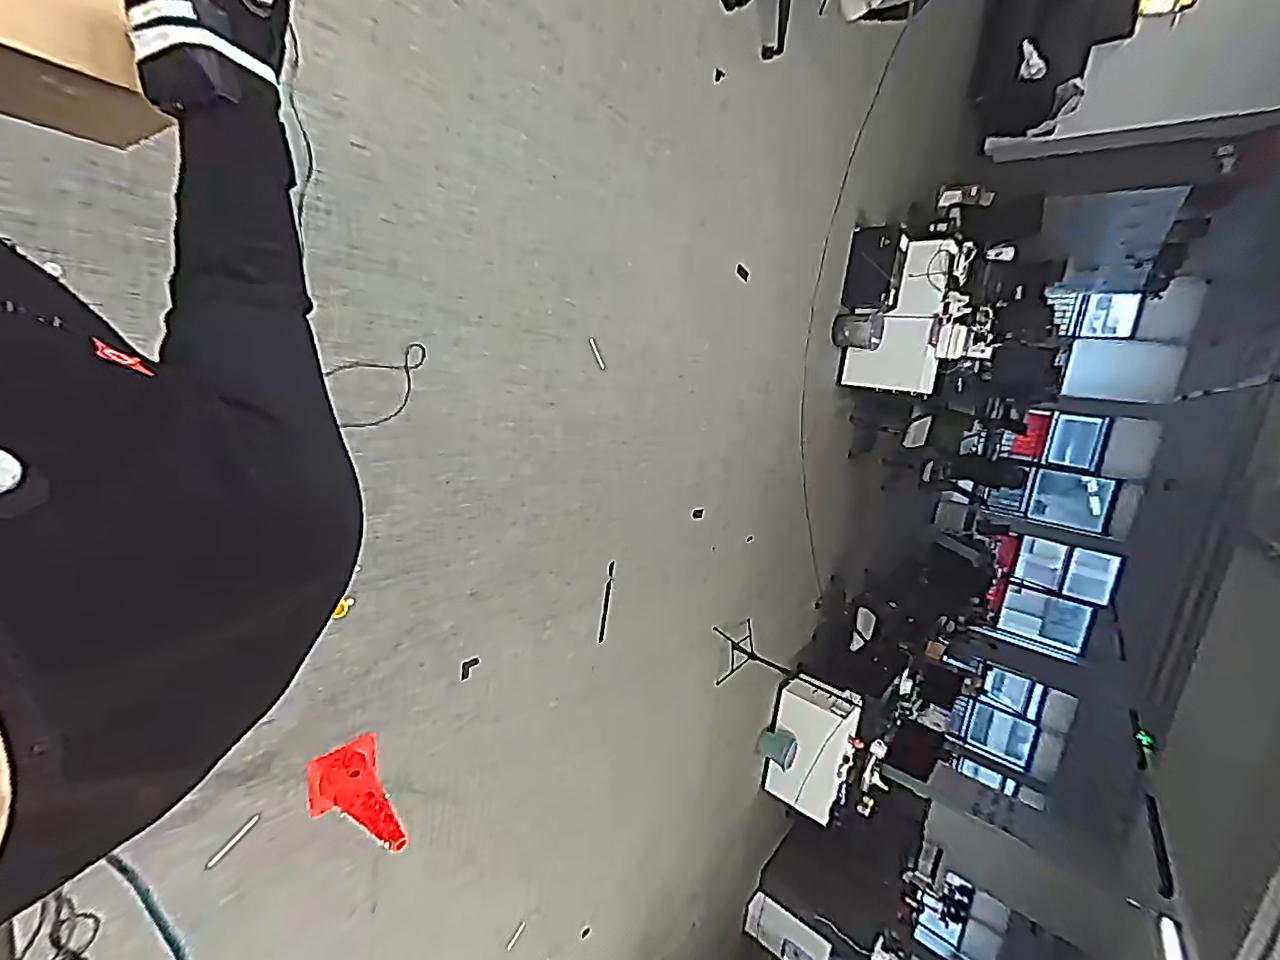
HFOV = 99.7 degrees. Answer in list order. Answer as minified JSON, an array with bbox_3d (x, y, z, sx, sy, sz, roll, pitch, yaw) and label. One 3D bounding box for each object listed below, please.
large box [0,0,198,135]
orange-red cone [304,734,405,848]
[{"bbox_3d":[-0.556,-0.460,0.314,0.408,0.320,0.320,-7,112,-52],"label":"large box"},{"bbox_3d":[-0.784,0.932,1.551,0.198,0.360,0.199,-11,110,-51],"label":"orange-red cone"}]
